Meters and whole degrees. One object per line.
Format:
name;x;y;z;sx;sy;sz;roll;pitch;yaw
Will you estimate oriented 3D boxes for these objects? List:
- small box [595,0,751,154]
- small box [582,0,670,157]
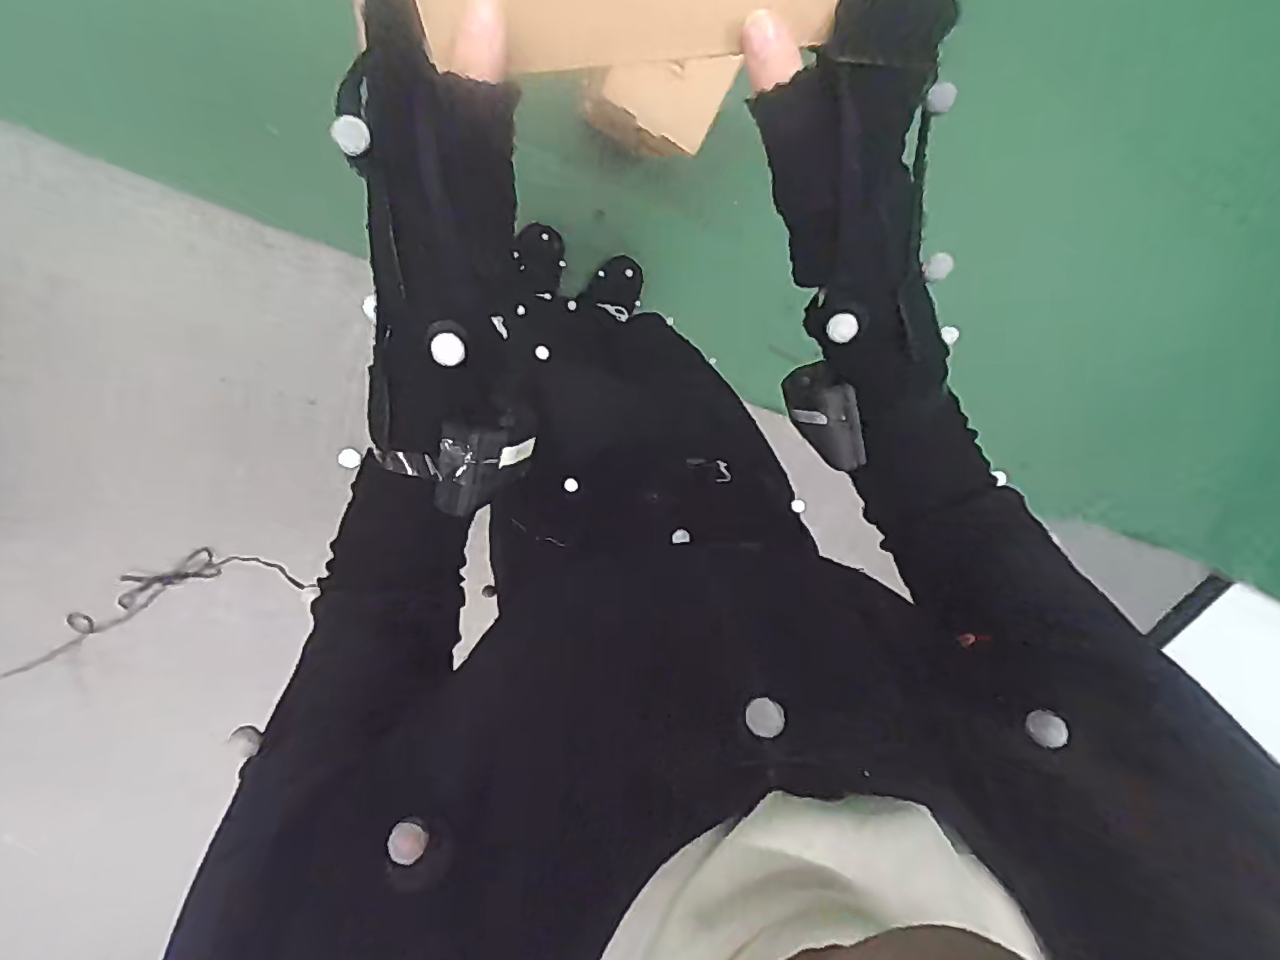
small box;0.039;-0.646;0.846;0.168;0.176;0.179;21;115;-24
small box;0.005;-0.713;0.970;0.168;0.176;0.179;21;114;-25
